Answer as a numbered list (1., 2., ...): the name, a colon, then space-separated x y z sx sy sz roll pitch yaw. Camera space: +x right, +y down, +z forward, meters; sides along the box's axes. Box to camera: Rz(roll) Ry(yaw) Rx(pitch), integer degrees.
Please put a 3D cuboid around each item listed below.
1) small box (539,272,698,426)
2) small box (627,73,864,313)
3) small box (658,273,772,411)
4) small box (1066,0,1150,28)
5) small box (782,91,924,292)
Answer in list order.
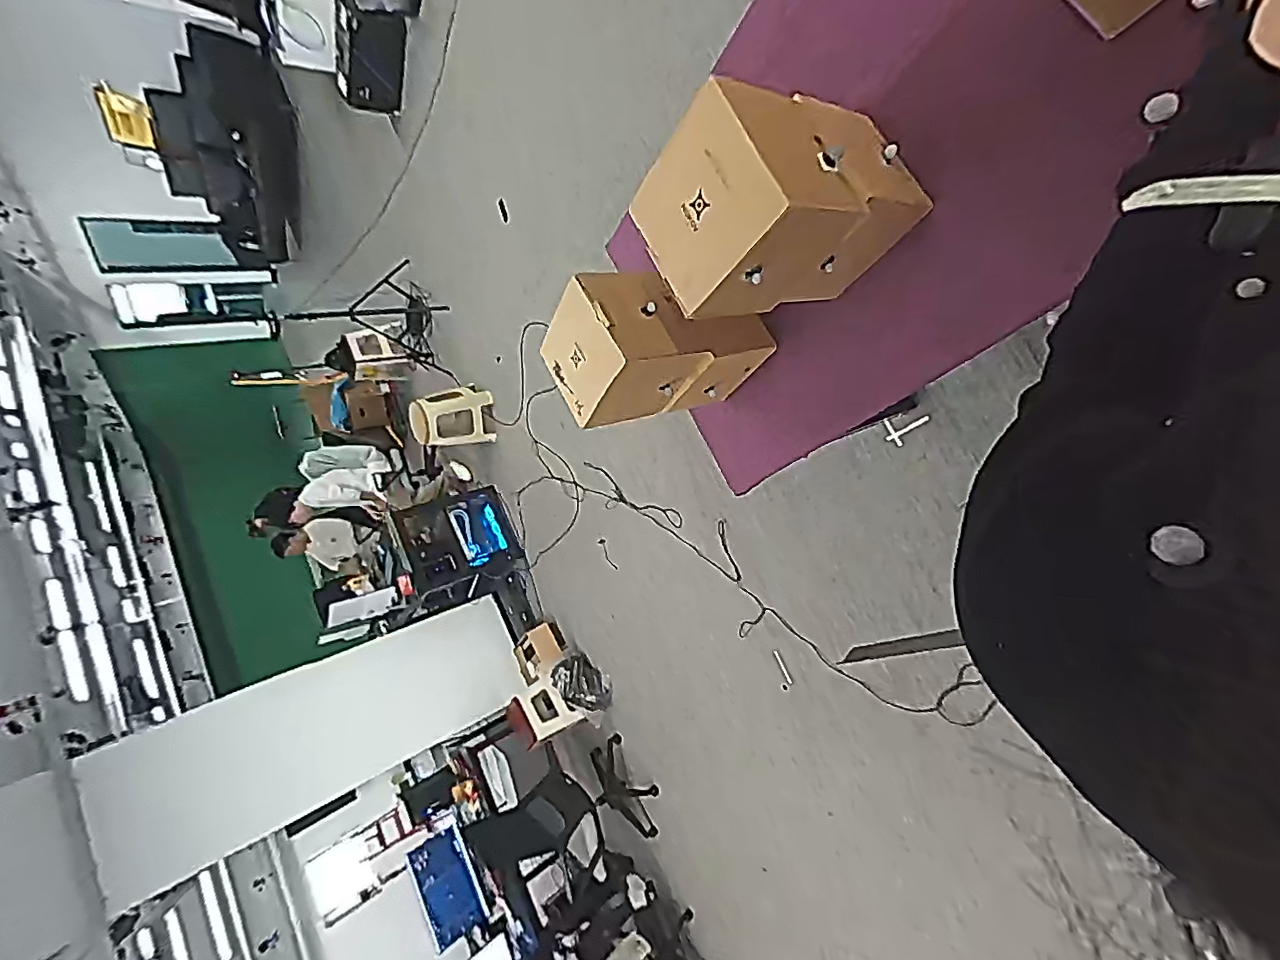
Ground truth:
1. small box: -0.031 -0.213 0.871 0.168 0.176 0.179 61 141 15
2. small box: 0.121 -0.319 0.634 0.179 0.176 0.168 -38 75 50
3. small box: 0.100 -0.250 0.963 0.168 0.176 0.179 -45 68 50
4. small box: 0.421 -0.525 0.433 0.179 0.176 0.168 -28 81 54
5. small box: 0.239 -0.371 0.732 0.179 0.176 0.168 -42 71 50
